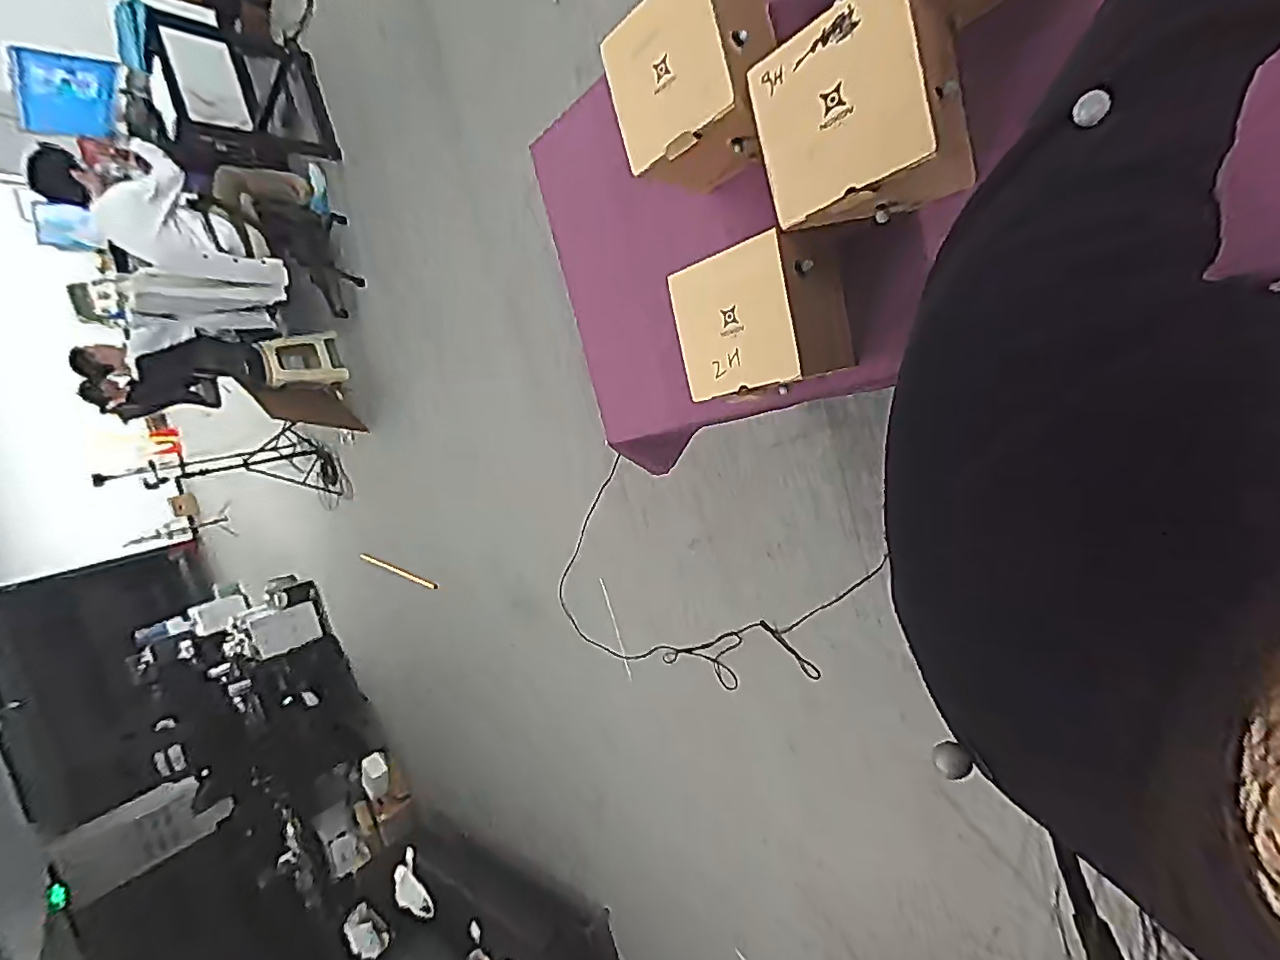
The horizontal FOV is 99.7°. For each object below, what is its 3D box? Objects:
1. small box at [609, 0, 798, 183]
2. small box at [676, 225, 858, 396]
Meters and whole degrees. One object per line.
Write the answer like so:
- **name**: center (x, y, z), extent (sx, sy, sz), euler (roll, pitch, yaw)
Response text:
- **small box**: center (0.090, -0.522, 0.722), extent (0.168, 0.176, 0.179), euler (-10, 97, 43)
- **small box**: center (0.177, -0.222, 0.740), extent (0.168, 0.176, 0.179), euler (-6, 99, 45)
